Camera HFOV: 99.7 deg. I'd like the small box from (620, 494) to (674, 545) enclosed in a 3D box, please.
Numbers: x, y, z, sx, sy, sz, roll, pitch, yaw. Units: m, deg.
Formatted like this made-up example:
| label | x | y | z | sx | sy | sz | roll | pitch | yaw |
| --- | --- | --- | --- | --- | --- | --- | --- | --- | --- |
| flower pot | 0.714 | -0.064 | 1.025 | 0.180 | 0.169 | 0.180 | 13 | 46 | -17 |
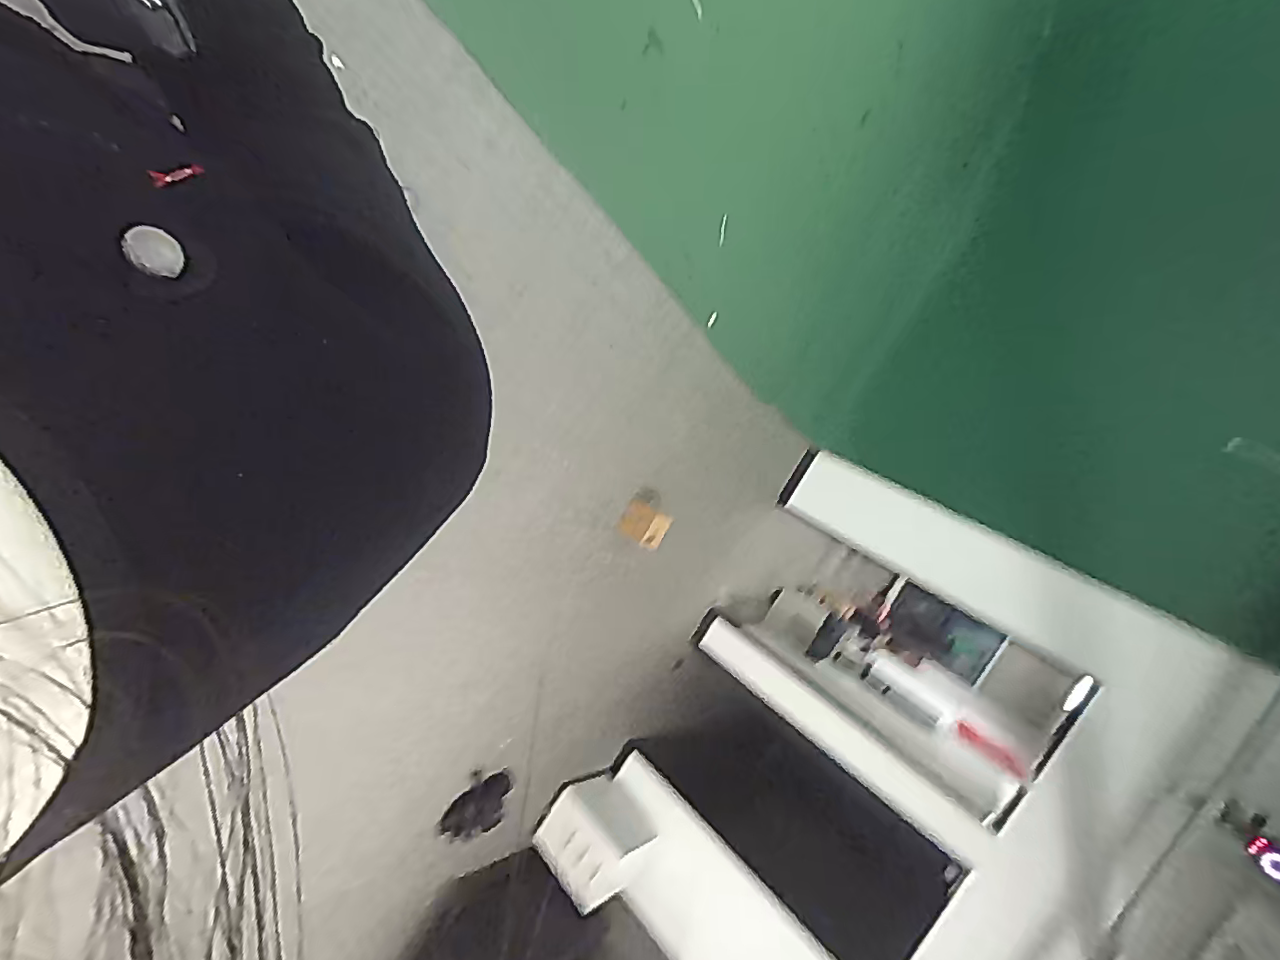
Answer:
| label | x | y | z | sx | sy | sz | roll | pitch | yaw |
| --- | --- | --- | --- | --- | --- | --- | --- | --- | --- |
| small box | 0.027 | 0.194 | 2.651 | 0.168 | 0.176 | 0.179 | 24 | 96 | -56 |
